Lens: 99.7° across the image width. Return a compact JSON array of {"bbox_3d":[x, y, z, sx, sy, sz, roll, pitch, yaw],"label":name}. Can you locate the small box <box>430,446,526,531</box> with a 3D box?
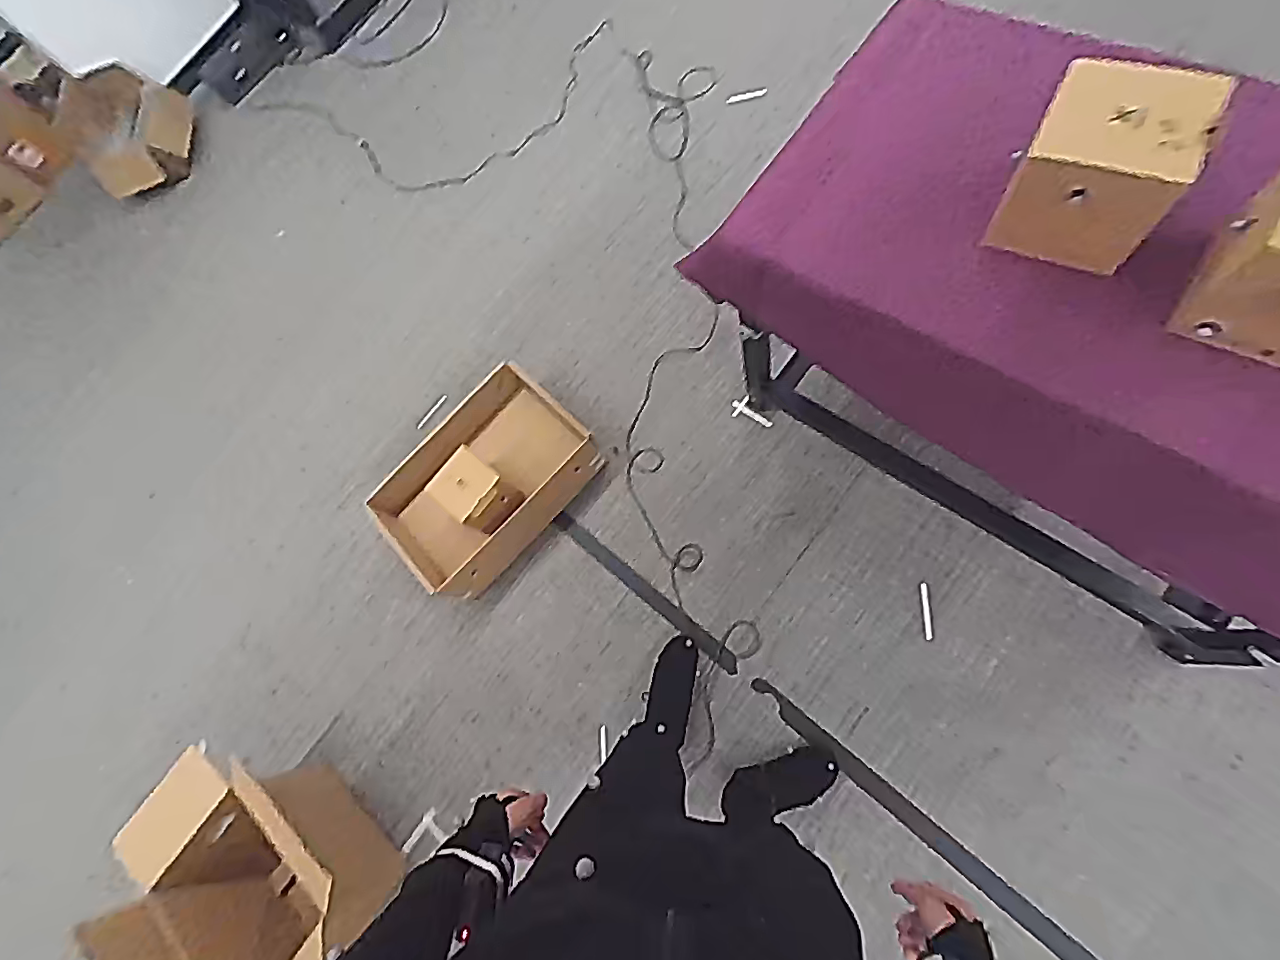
[{"bbox_3d":[-0.470,0.033,1.595,0.179,0.176,0.168,37,83,21],"label":"small box"}]

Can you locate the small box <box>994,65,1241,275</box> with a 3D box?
[{"bbox_3d":[0.626,-0.412,0.737,0.179,0.176,0.168,27,81,19],"label":"small box"}]

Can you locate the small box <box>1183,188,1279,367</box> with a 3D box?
[{"bbox_3d":[0.815,-0.252,0.641,0.168,0.176,0.179,31,81,20],"label":"small box"}]
